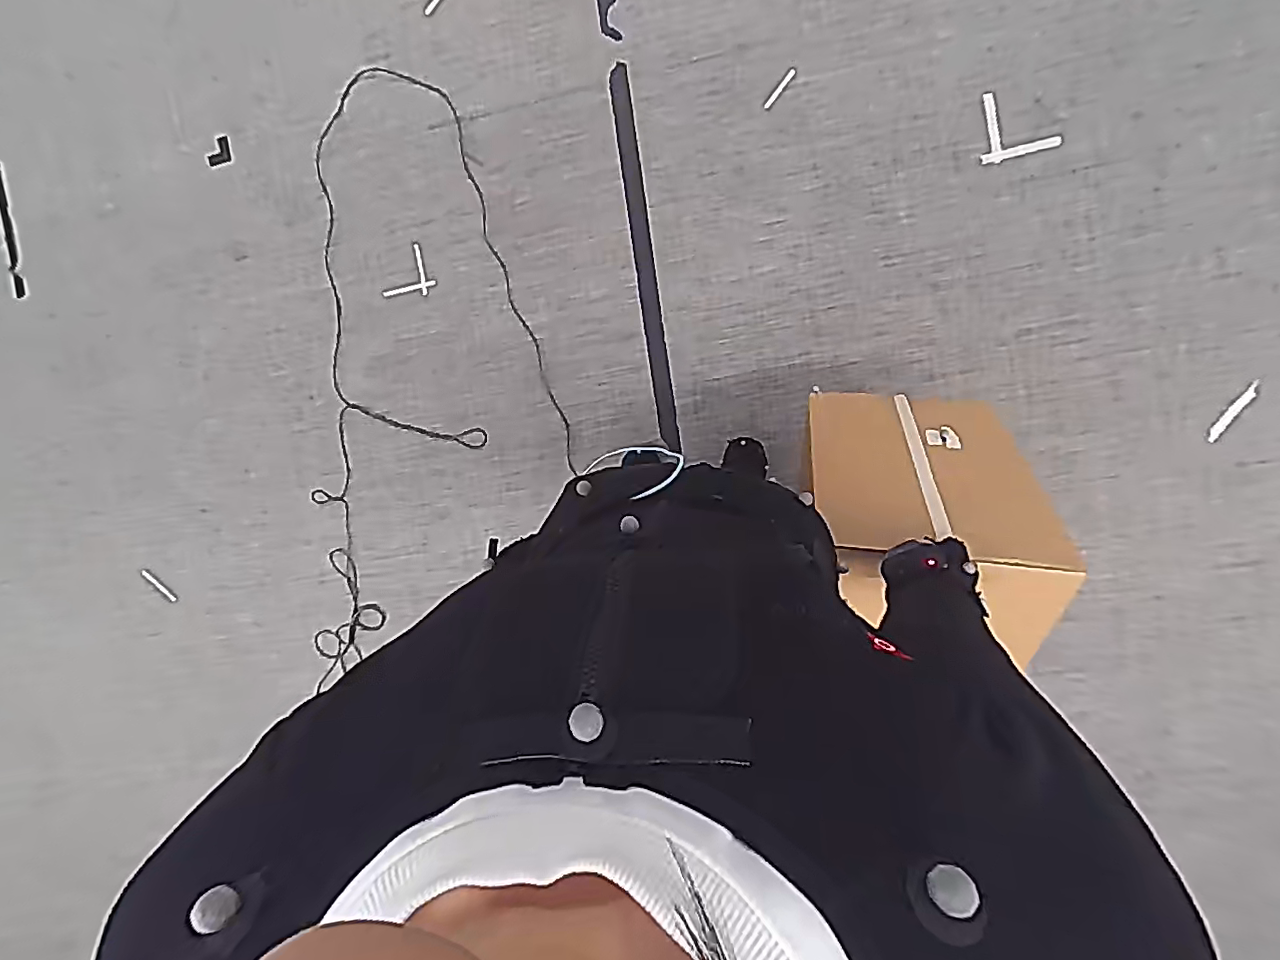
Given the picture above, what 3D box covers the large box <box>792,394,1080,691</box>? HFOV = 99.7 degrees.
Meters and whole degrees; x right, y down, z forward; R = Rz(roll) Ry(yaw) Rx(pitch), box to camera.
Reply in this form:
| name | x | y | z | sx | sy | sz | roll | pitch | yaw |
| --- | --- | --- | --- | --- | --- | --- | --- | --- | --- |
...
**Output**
| name | x | y | z | sx | sy | sz | roll | pitch | yaw |
| --- | --- | --- | --- | --- | --- | --- | --- | --- | --- |
| large box | 0.437 | 0.089 | 0.927 | 0.320 | 0.408 | 0.320 | 5 | 129 | 11 |
